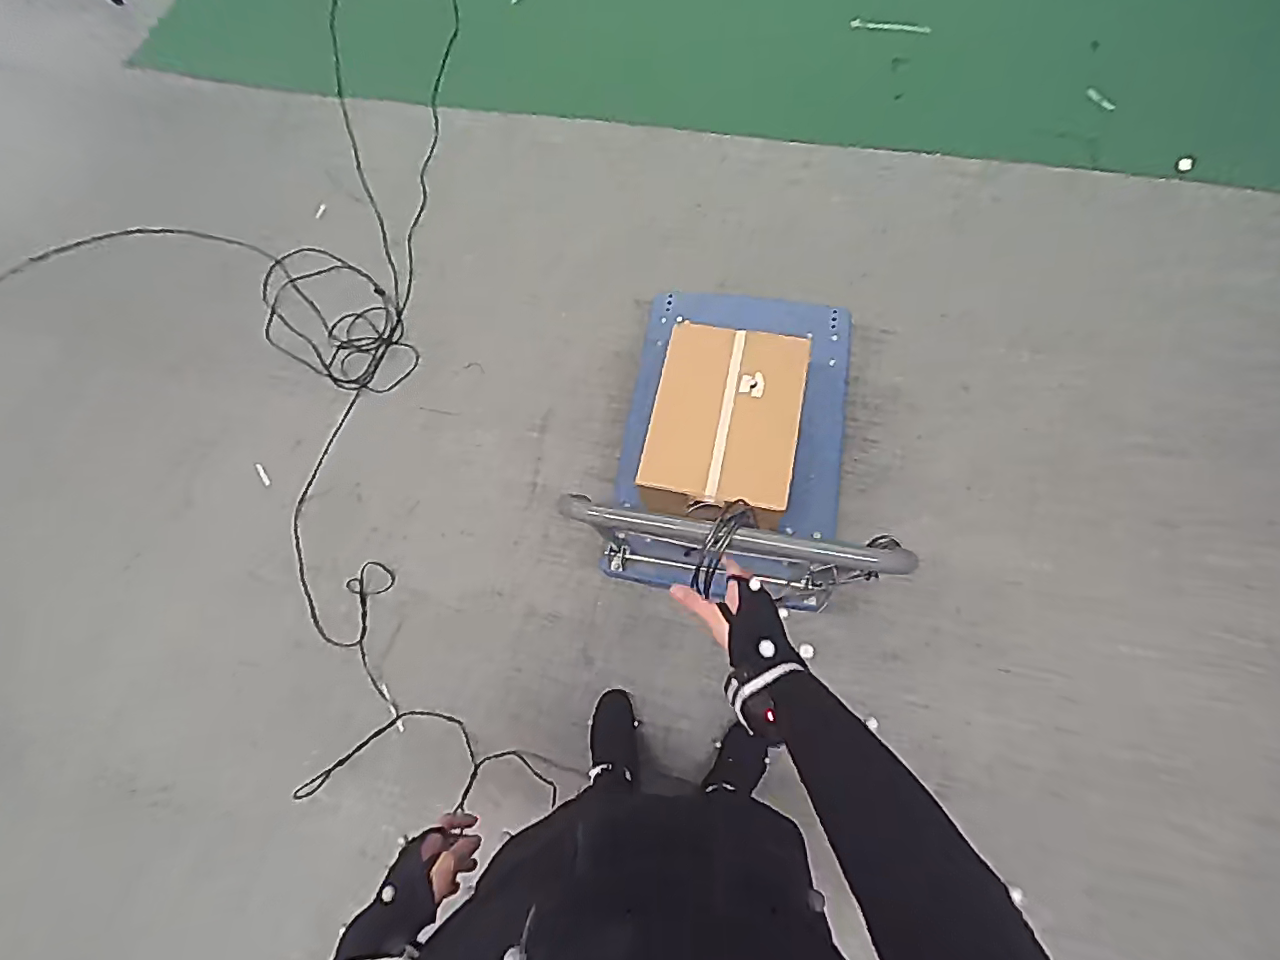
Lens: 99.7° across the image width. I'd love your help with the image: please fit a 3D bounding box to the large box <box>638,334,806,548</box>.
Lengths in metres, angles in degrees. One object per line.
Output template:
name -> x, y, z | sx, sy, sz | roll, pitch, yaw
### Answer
large box -> 0.197, -0.081, 1.307 | 0.320, 0.320, 0.408 | 11, 71, 9
